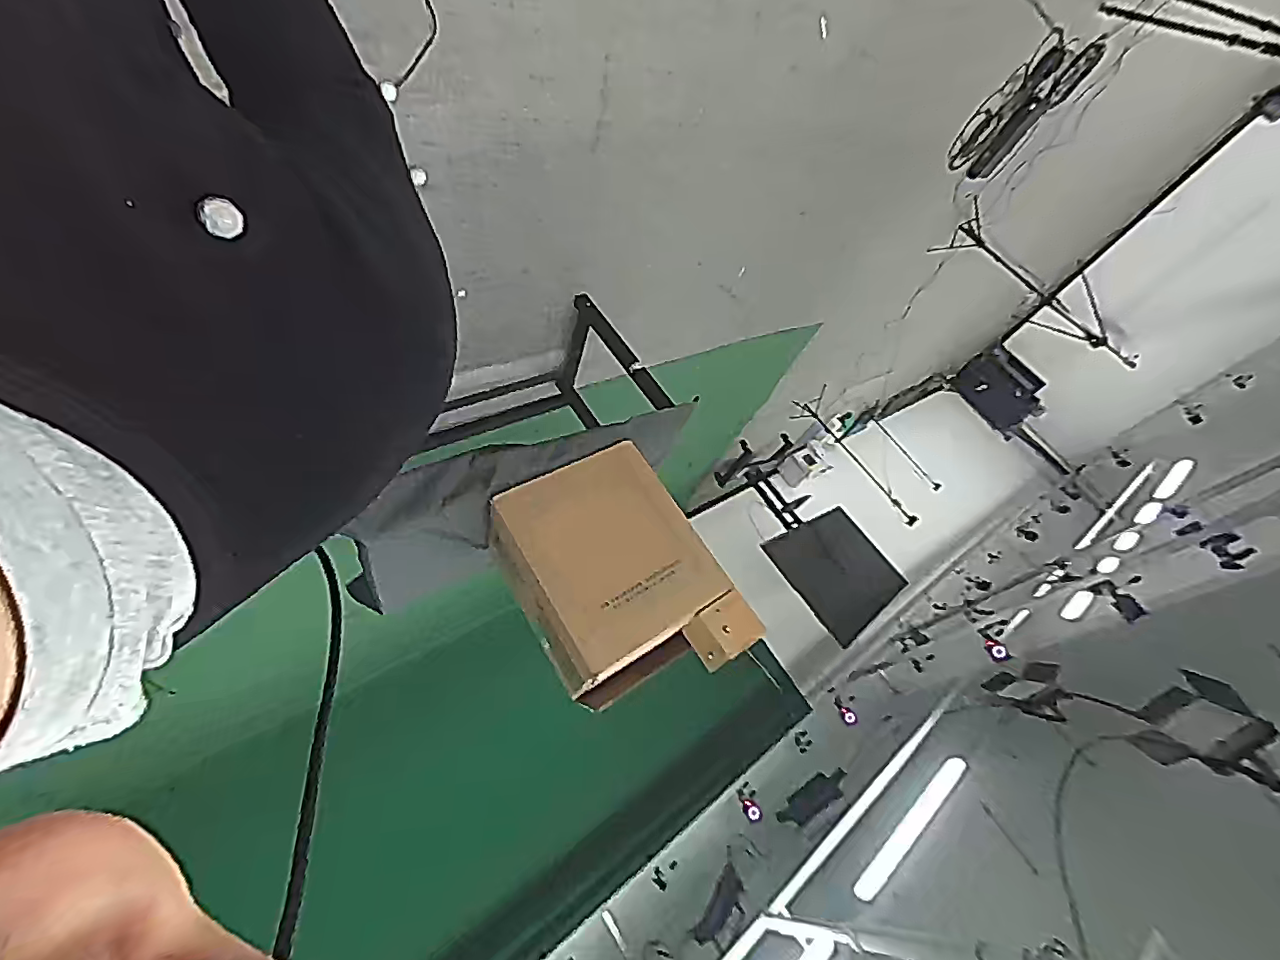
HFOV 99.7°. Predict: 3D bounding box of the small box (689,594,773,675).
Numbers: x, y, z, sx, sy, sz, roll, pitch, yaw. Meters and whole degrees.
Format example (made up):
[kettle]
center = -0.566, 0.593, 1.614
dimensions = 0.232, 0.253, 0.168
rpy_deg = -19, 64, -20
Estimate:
[small box]
center = 0.281, 0.485, 1.713
dimensions = 0.168, 0.176, 0.179
rpy_deg = -25, 159, -28
